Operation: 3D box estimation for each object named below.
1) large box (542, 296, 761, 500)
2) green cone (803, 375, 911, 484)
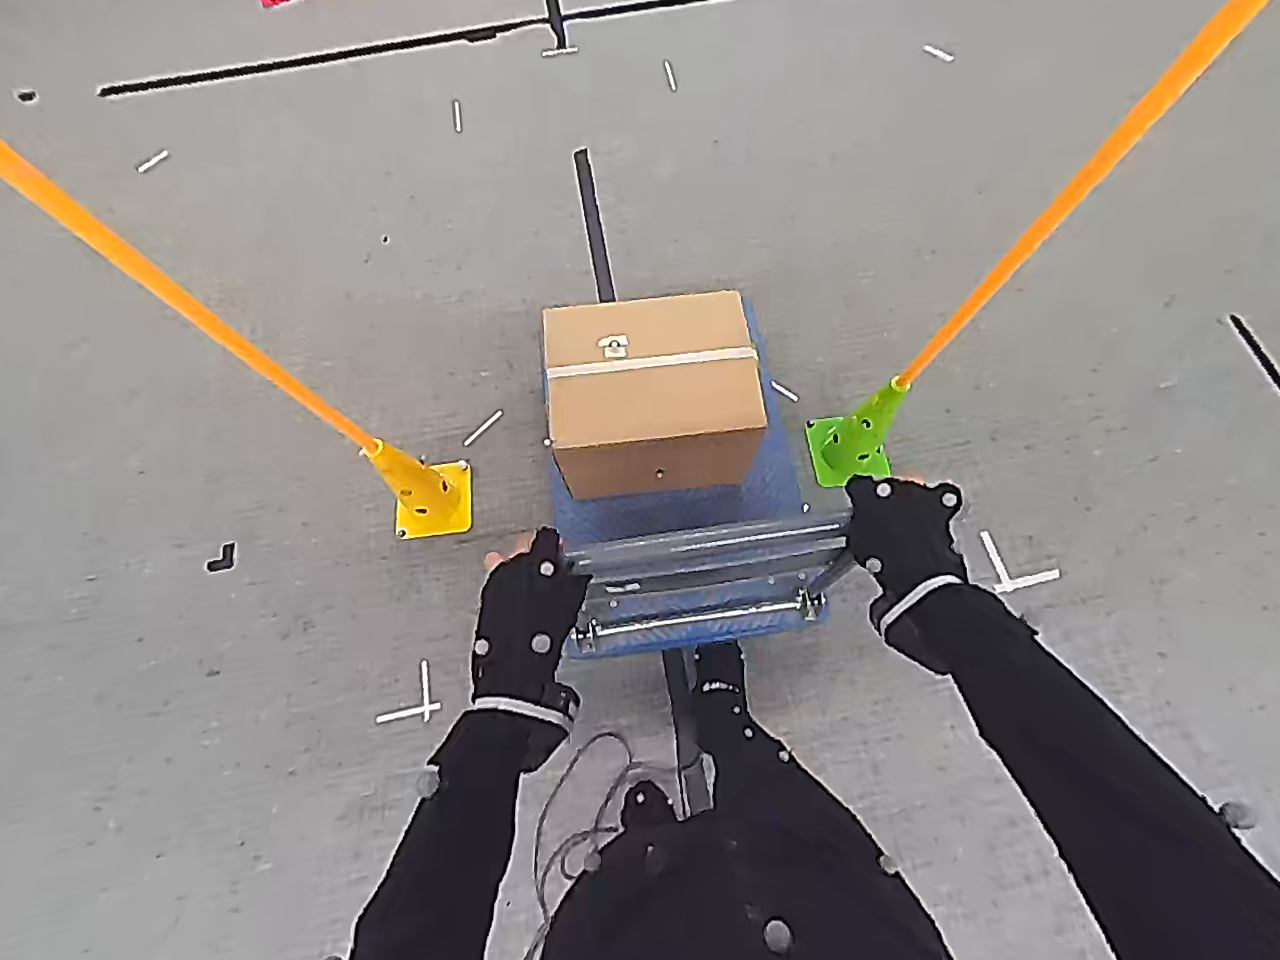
[{"bbox_3d":[0.020,-0.163,1.202,0.408,0.320,0.320,-7,70,0],"label":"large box"},{"bbox_3d":[0.562,-0.145,1.334,0.202,0.368,0.200,-7,70,-2],"label":"green cone"}]
